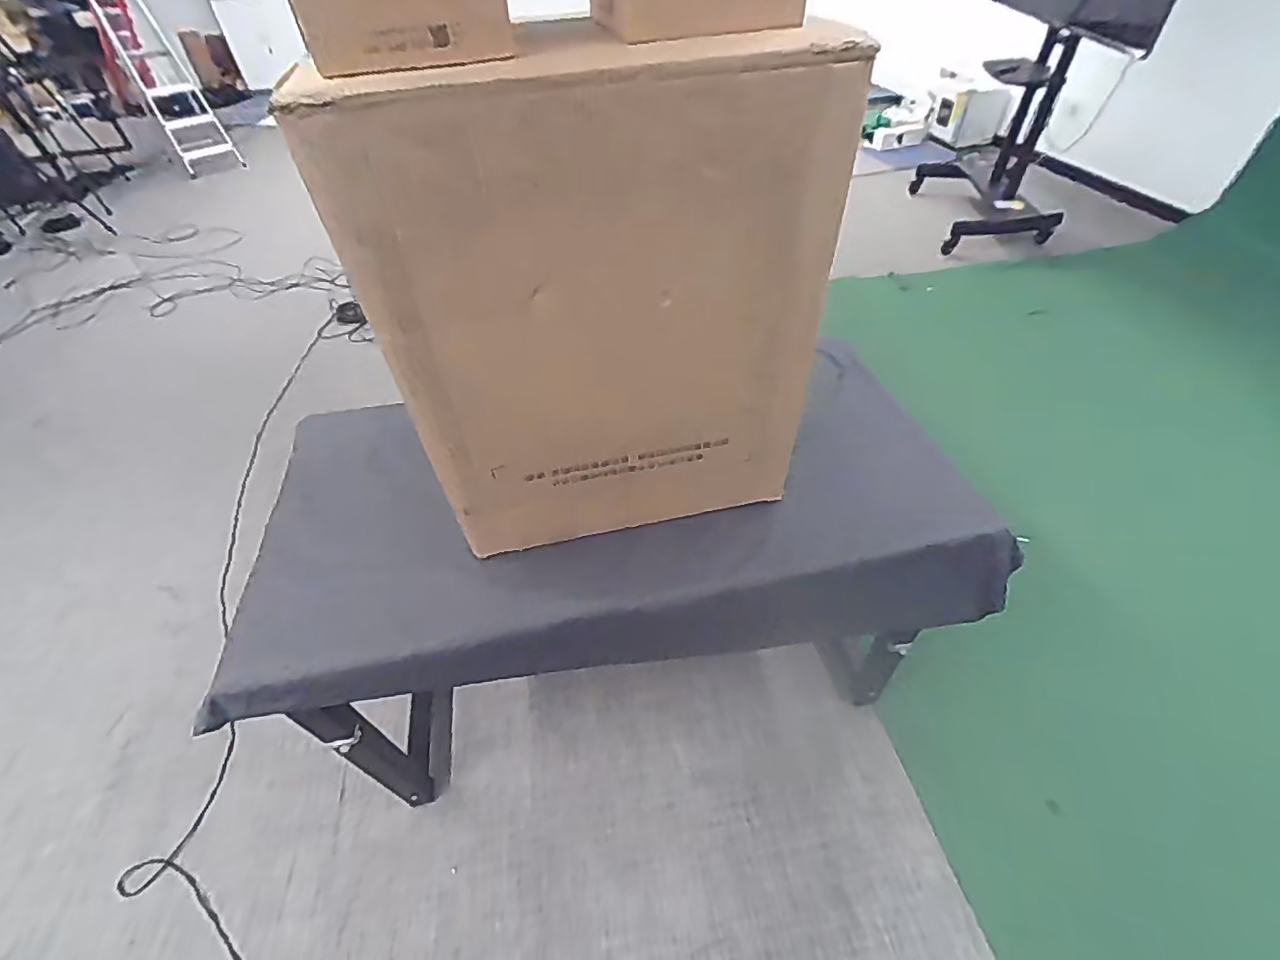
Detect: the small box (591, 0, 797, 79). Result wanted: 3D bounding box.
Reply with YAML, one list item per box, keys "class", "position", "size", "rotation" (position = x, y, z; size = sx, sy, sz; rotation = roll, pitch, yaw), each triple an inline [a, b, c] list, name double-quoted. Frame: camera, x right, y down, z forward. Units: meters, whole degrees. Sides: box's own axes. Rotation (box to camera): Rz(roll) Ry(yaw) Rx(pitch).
- class: "small box"
  position: [0.047, -0.505, 0.513]
  size: [0.179, 0.176, 0.168]
  rotation: [-13, 48, -9]

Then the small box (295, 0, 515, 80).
- class: "small box"
  position: [-0.210, -0.460, 0.460]
  size: [0.168, 0.176, 0.179]
  rotation: [-12, 50, -9]
